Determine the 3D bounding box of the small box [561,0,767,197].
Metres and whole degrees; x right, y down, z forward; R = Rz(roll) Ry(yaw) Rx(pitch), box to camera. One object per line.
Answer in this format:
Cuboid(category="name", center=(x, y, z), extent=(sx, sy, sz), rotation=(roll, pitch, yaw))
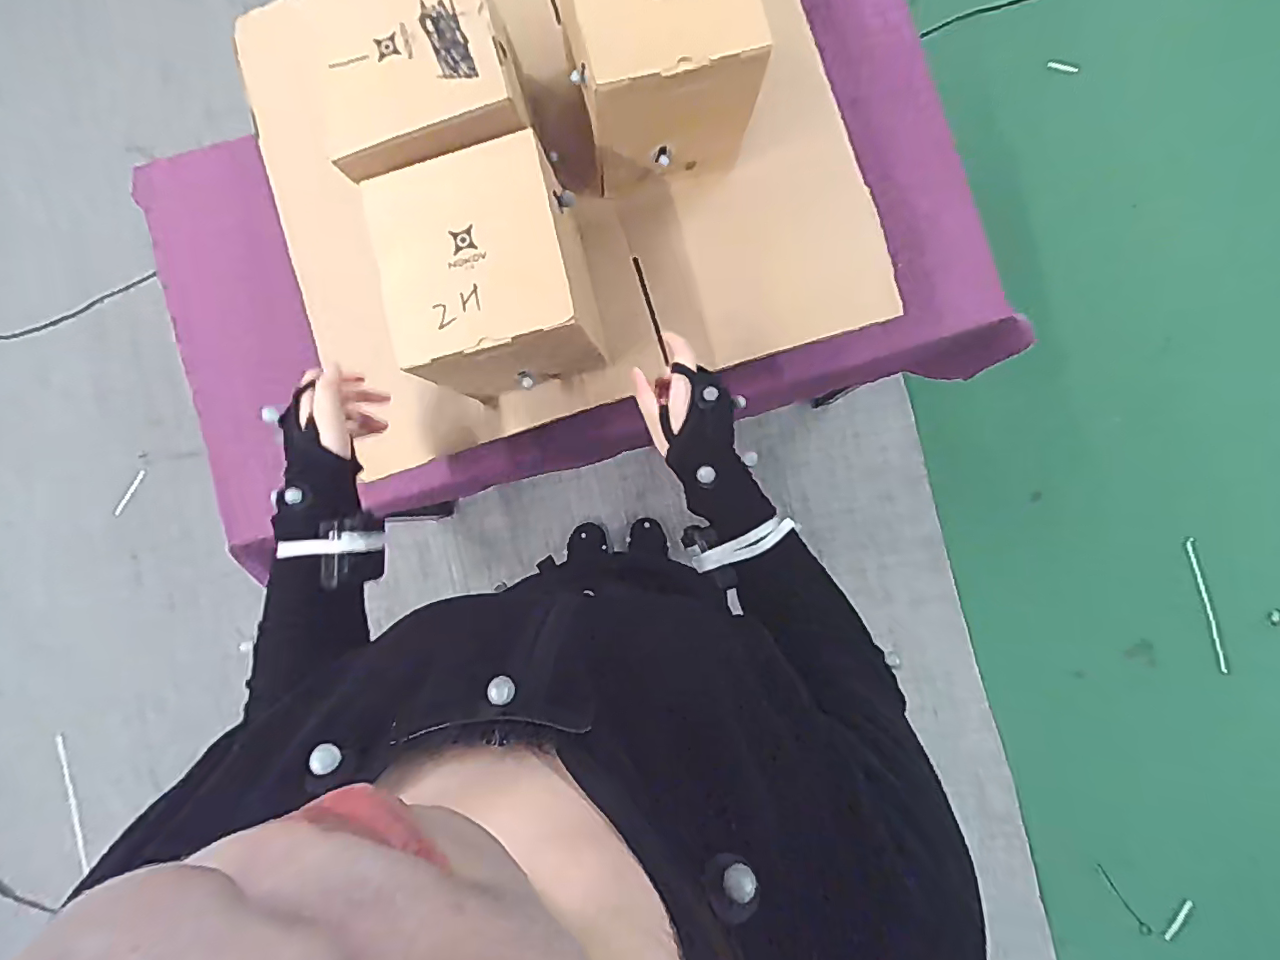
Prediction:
Cuboid(category="small box", center=(0.014, -0.441, 0.570), extent=(0.168, 0.176, 0.179), rotation=(-15, 87, -3))
